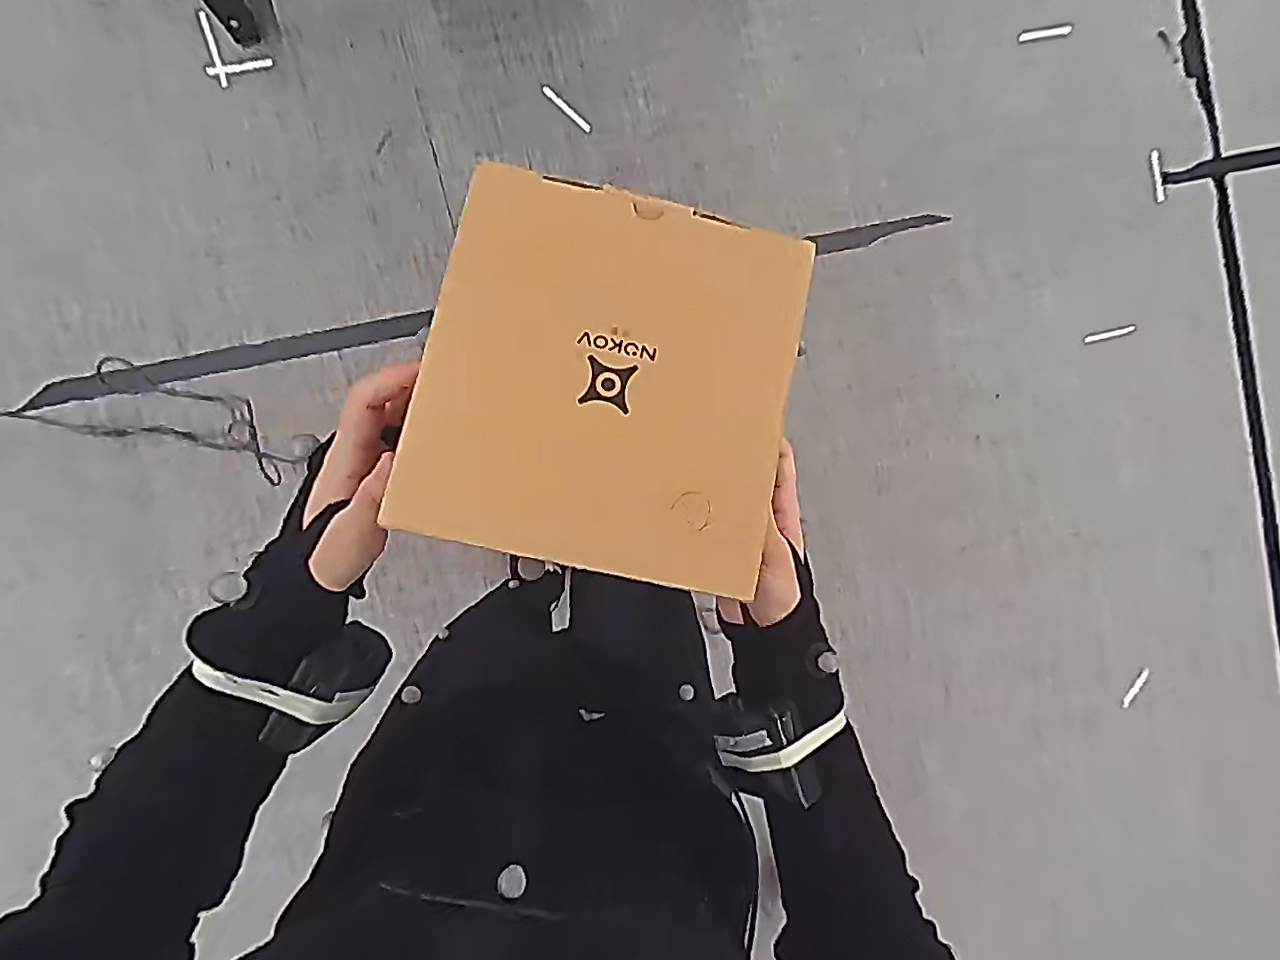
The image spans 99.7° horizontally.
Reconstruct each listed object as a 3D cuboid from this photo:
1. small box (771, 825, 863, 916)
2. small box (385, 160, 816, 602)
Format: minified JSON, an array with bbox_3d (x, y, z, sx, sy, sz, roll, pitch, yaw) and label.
[{"bbox_3d":[0.467,1.036,1.380,0.179,0.176,0.168,-27,96,-7],"label":"small box"},{"bbox_3d":[-0.019,-0.038,0.321,0.168,0.176,0.179,12,81,-4],"label":"small box"}]
